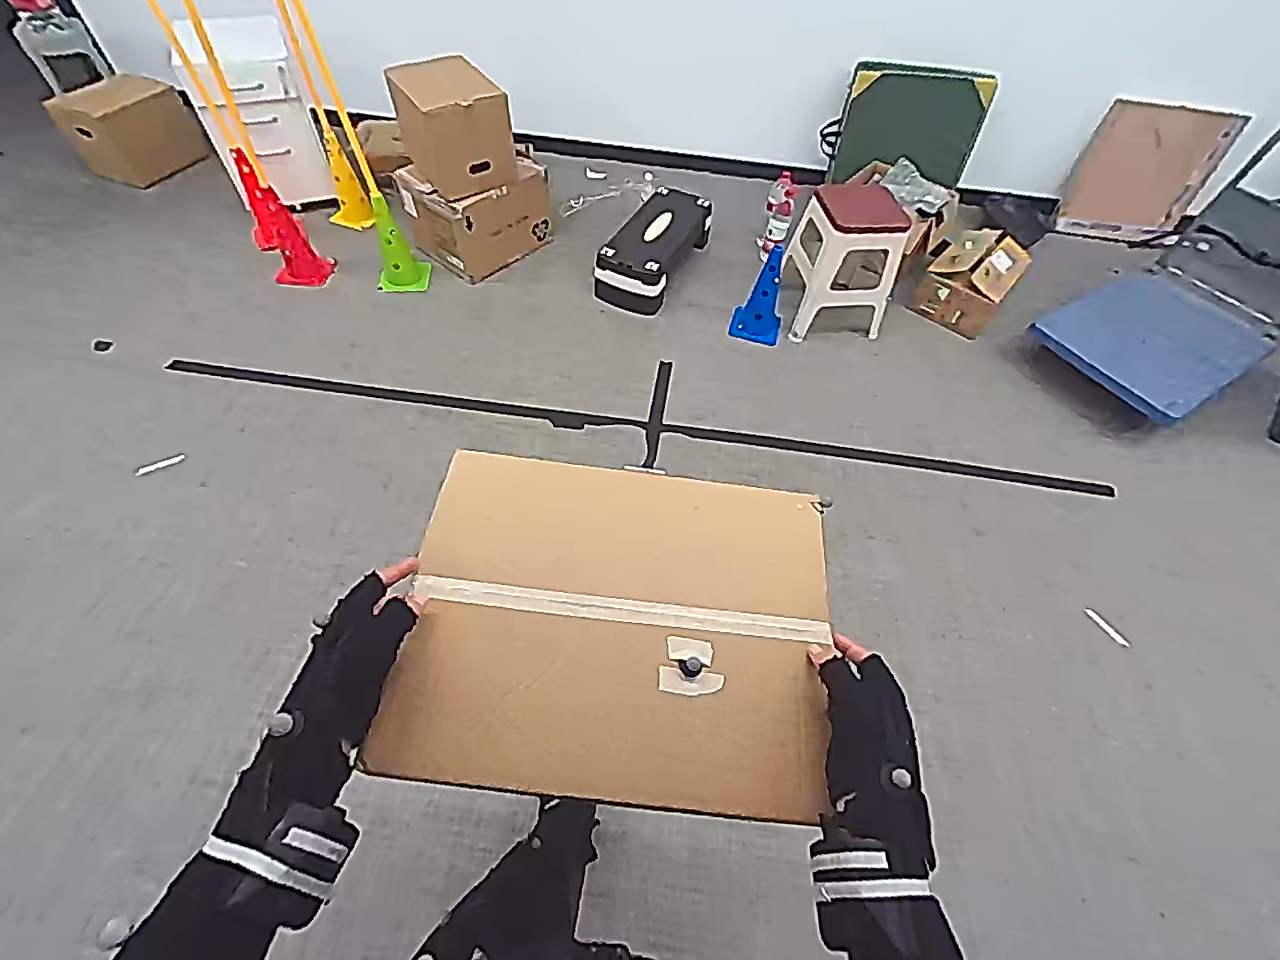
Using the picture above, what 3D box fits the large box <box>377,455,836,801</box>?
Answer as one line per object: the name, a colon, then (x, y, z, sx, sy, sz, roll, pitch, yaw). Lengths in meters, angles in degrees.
large box: (-0.029, 0.198, 0.661, 0.408, 0.320, 0.320, 7, 60, -2)
